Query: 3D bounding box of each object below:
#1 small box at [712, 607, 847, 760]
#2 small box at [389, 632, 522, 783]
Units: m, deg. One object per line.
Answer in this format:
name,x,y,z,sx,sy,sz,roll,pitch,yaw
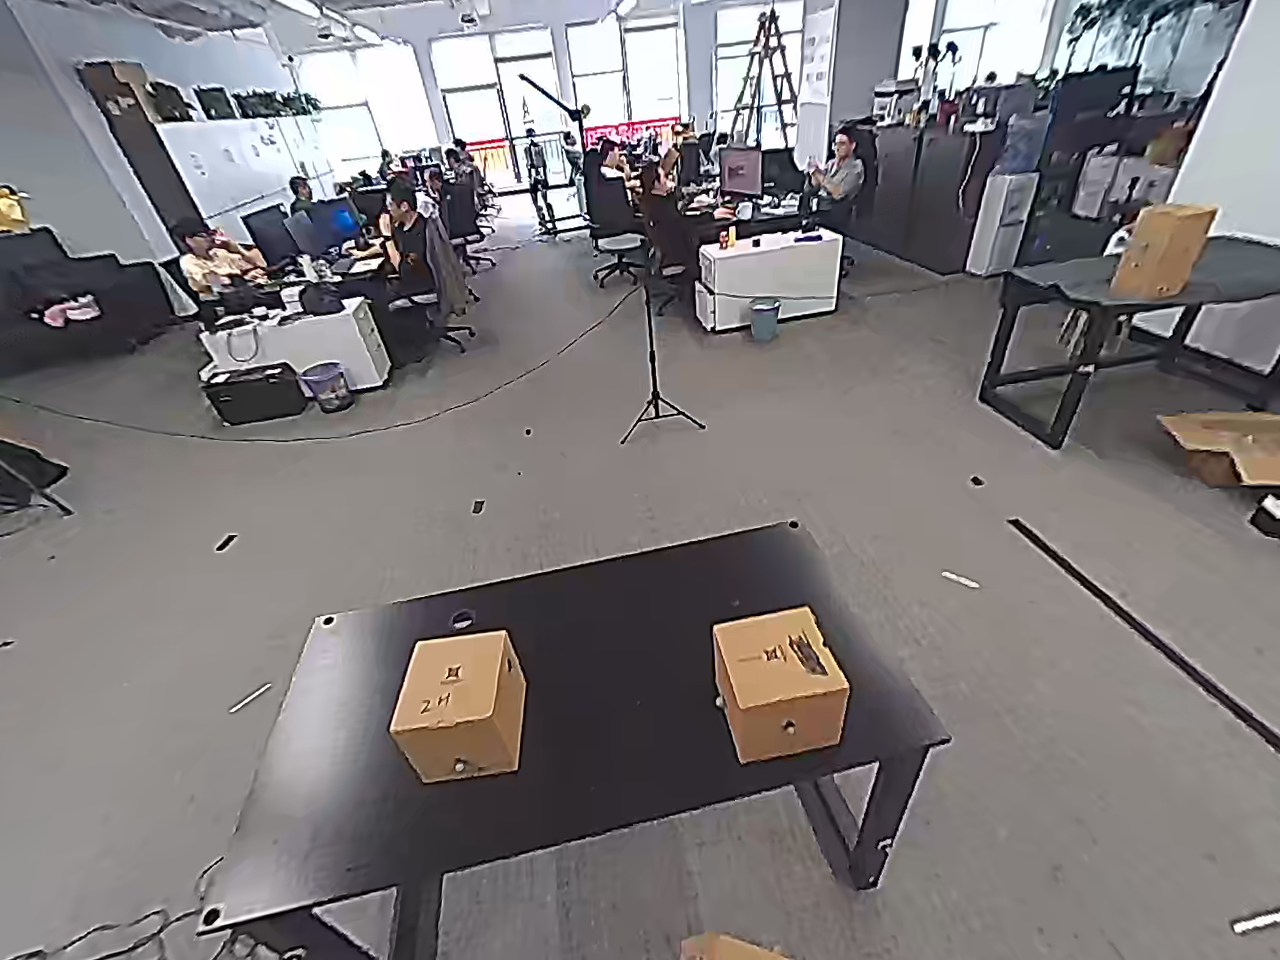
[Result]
small box,0.229,0.348,0.928,0.179,0.176,0.168,-11,35,-3
small box,-0.311,0.400,0.956,0.168,0.176,0.179,-8,36,0
